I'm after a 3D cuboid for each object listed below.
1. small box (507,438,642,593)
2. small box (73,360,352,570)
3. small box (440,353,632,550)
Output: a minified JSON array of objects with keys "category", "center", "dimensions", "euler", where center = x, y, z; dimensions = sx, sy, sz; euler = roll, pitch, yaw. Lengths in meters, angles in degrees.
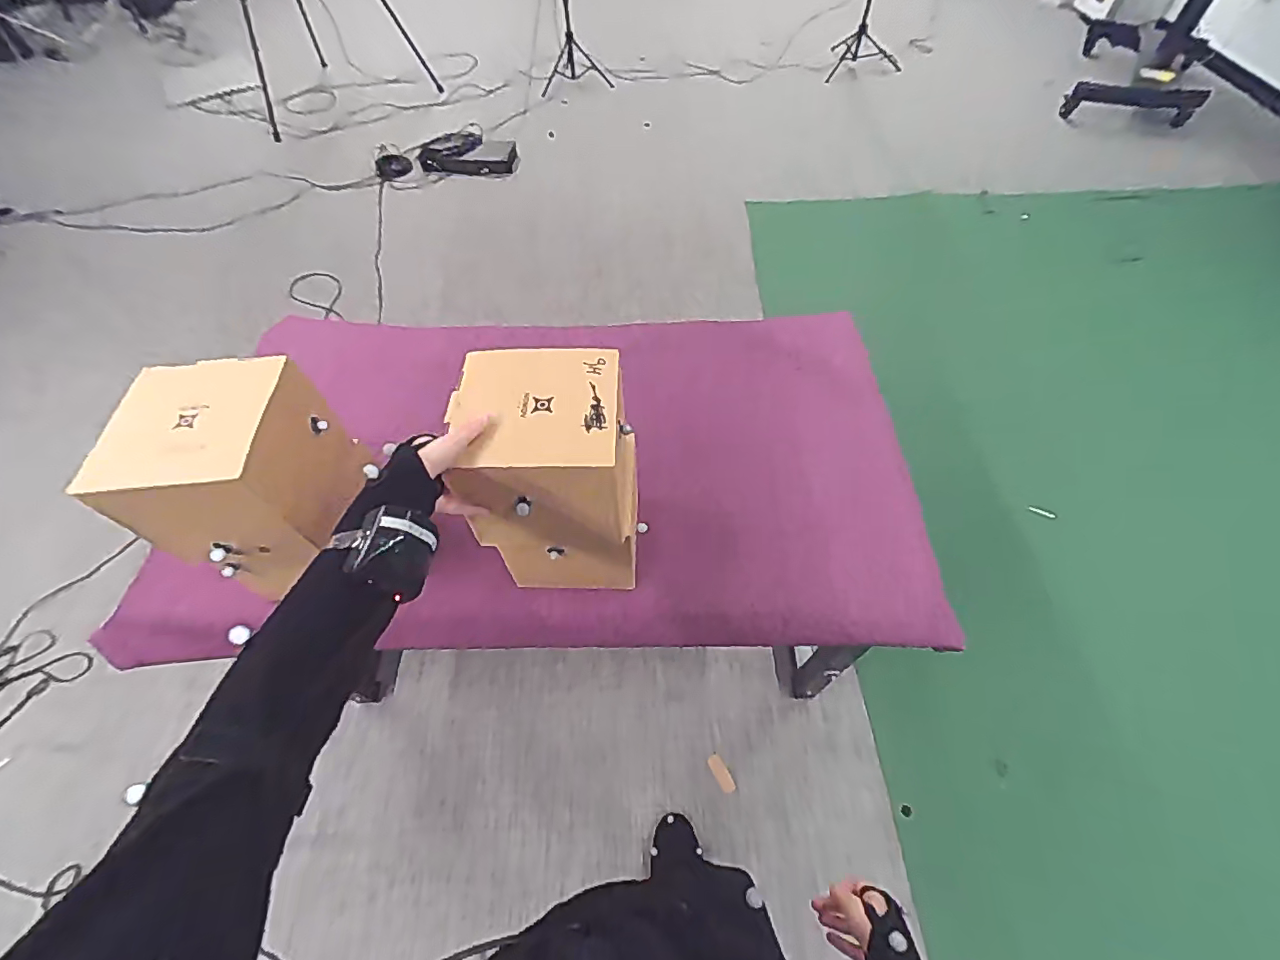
[{"category":"small box","center":[-0.089,0.053,0.771],"dimensions":[0.179,0.176,0.168],"euler":[1,56,2]},{"category":"small box","center":[-0.464,-0.014,0.629],"dimensions":[0.168,0.176,0.179],"euler":[-5,56,-1]},{"category":"small box","center":[-0.103,-0.028,0.629],"dimensions":[0.179,0.176,0.168],"euler":[0,56,2]}]
